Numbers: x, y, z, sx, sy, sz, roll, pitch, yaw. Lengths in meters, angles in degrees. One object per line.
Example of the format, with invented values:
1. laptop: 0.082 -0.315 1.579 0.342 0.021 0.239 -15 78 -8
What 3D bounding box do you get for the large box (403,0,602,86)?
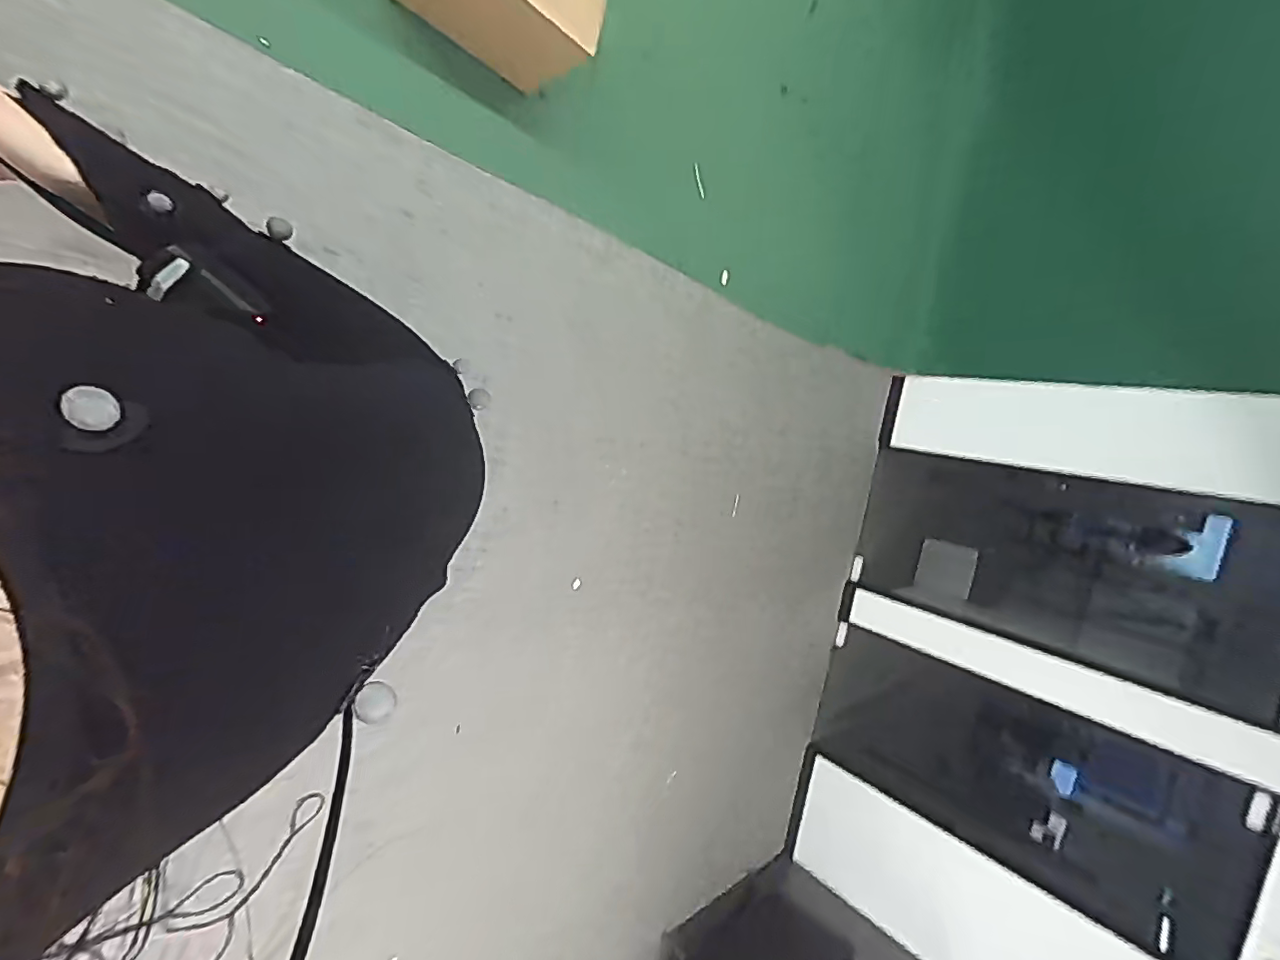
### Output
1. large box: -0.328 -1.234 1.262 0.408 0.320 0.320 8 96 -46
